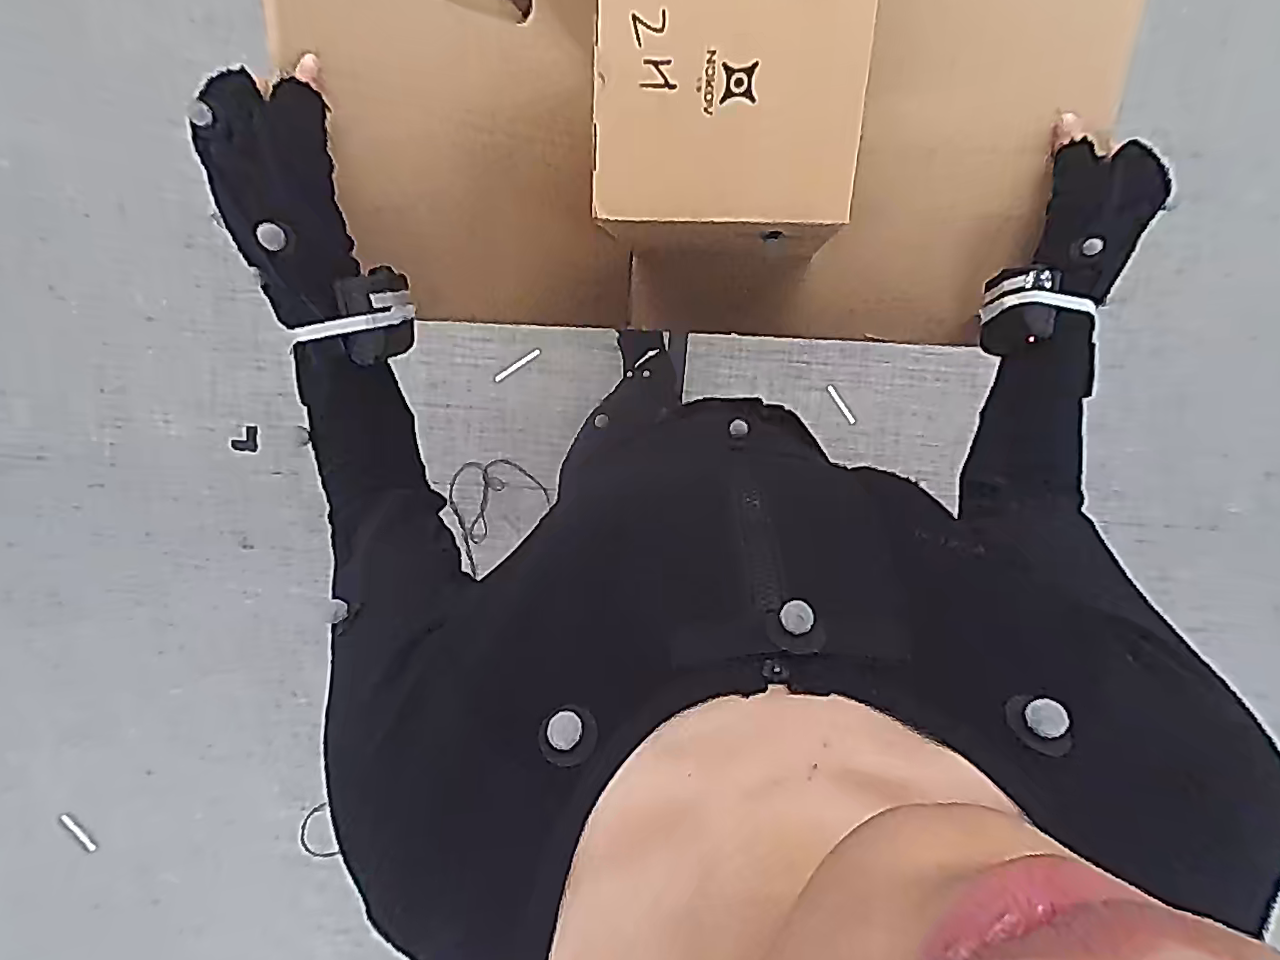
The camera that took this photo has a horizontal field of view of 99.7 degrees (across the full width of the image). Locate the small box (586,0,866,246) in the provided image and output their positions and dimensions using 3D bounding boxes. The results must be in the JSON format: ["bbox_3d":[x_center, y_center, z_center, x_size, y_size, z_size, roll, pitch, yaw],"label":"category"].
[{"bbox_3d":[0.064,-0.289,0.430,0.179,0.176,0.168,6,106,9],"label":"small box"}]
